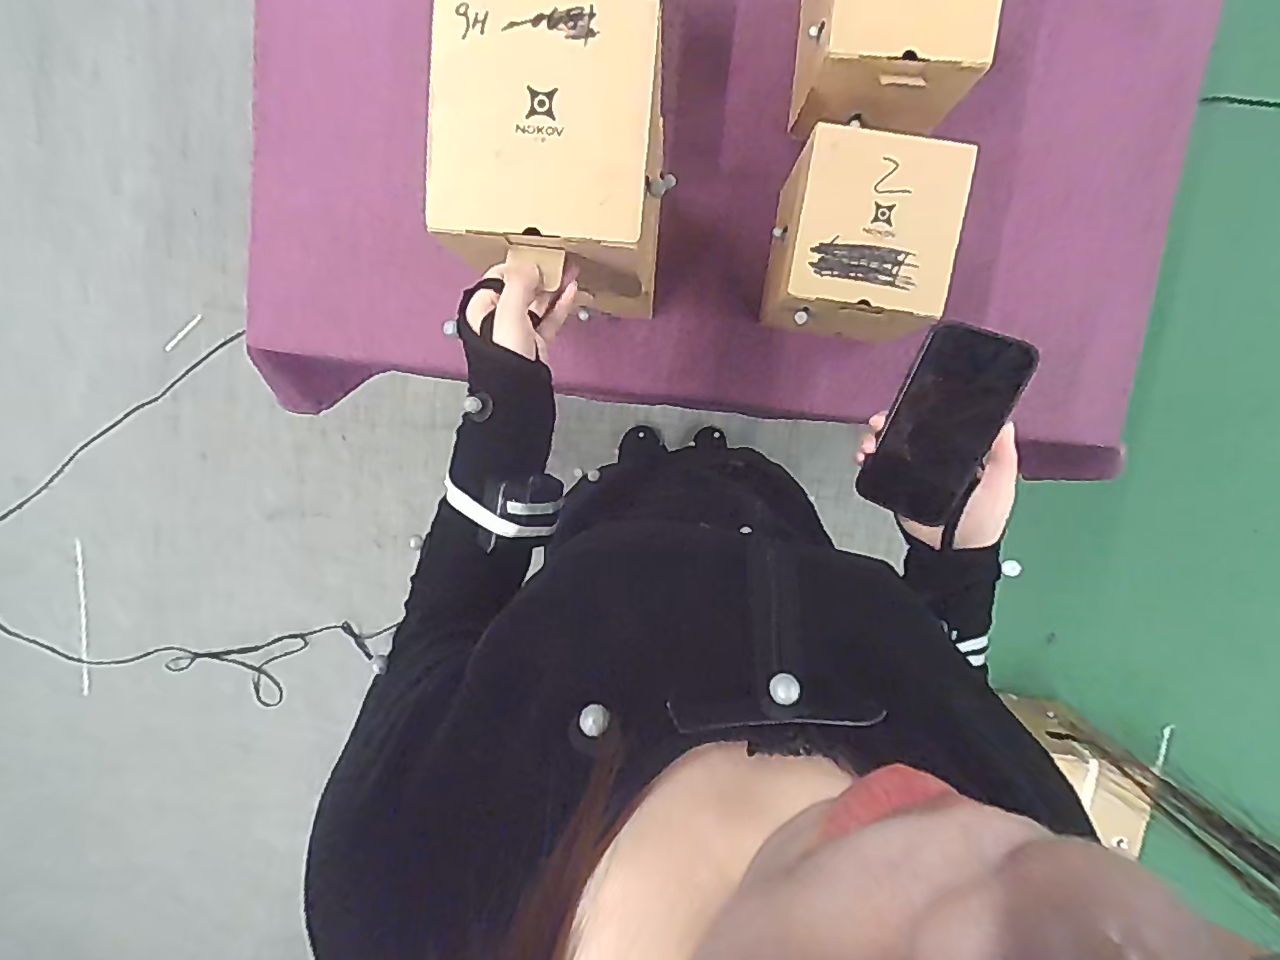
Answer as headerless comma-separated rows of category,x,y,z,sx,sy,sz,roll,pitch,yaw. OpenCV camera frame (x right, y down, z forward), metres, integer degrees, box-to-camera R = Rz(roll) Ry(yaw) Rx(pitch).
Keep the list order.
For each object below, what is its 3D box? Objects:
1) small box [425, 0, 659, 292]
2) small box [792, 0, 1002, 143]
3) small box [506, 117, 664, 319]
small box,-0.072,-0.275,0.478,0.168,0.176,0.179,5,96,1
small box,0.277,-0.515,0.605,0.168,0.176,0.179,4,99,2
small box,-0.061,-0.301,0.642,0.168,0.176,0.179,5,97,2
